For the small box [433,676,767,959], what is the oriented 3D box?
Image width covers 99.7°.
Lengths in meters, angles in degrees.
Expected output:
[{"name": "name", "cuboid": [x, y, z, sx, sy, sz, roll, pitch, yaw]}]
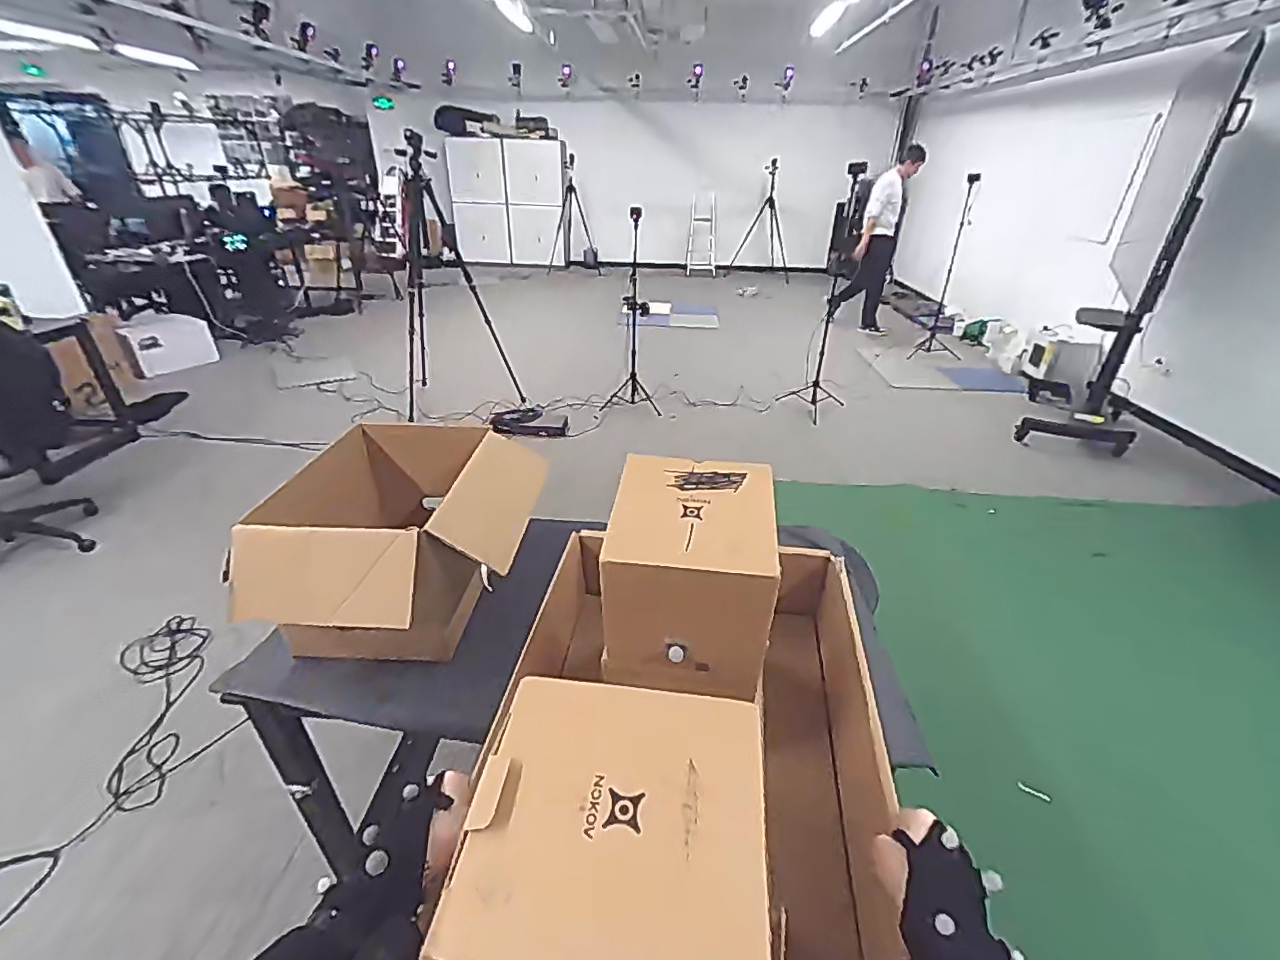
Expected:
[{"name": "small box", "cuboid": [-0.012, 0.266, 0.379, 0.179, 0.176, 0.168, 5, 37, 6]}]

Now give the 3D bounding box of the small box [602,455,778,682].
[{"name": "small box", "cuboid": [0.057, 0.094, 0.606, 0.168, 0.176, 0.179, 4, 39, 7]}]
